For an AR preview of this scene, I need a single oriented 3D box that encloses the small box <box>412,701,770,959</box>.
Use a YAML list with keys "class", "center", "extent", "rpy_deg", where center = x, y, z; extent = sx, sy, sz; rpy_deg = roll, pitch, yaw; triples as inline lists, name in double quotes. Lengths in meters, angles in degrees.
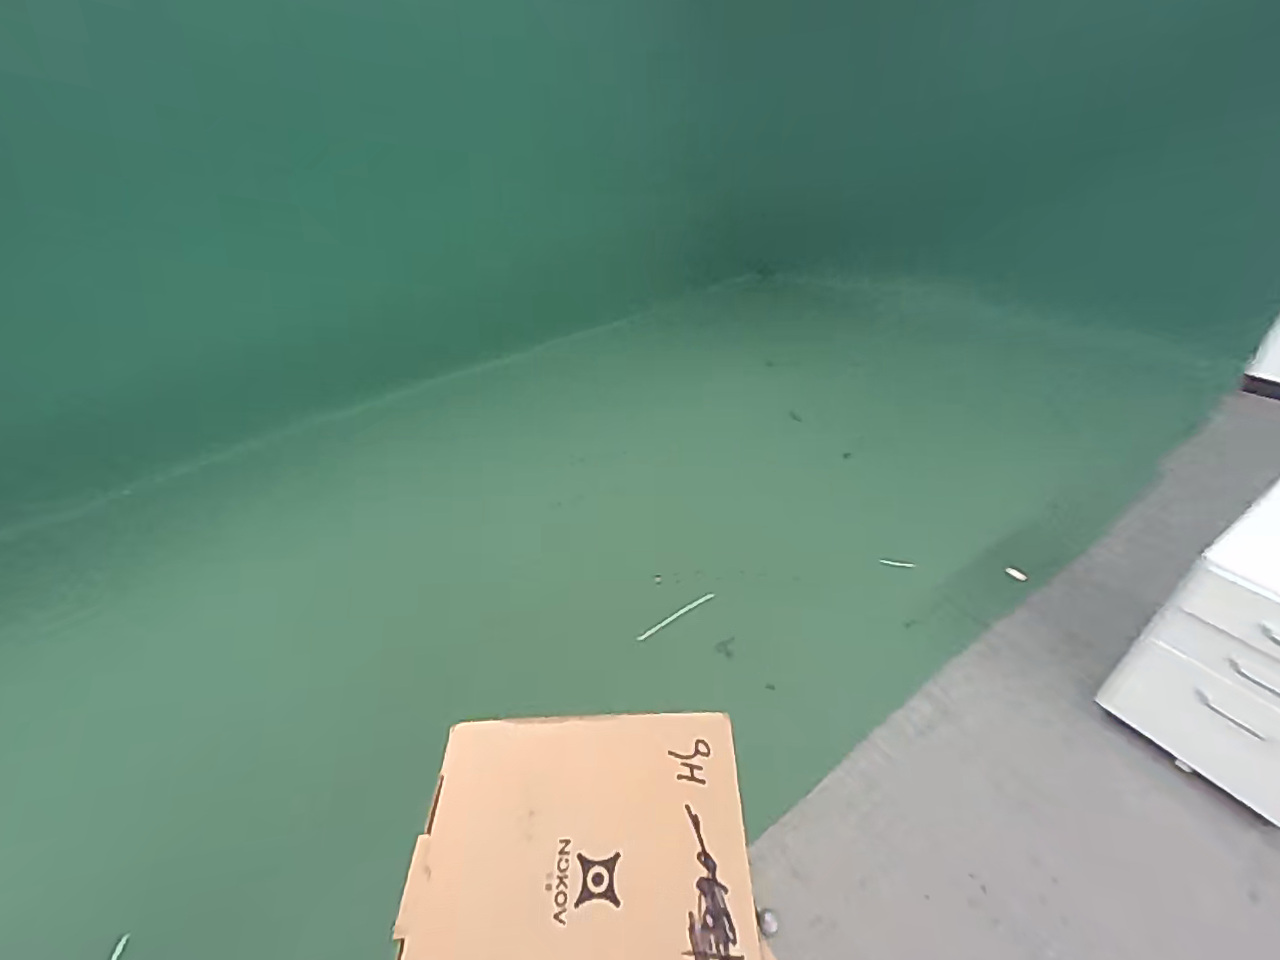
- class: "small box"
  center: [-0.019, 0.258, 0.343]
  extent: [0.179, 0.176, 0.168]
  rpy_deg: [-2, 43, 2]
